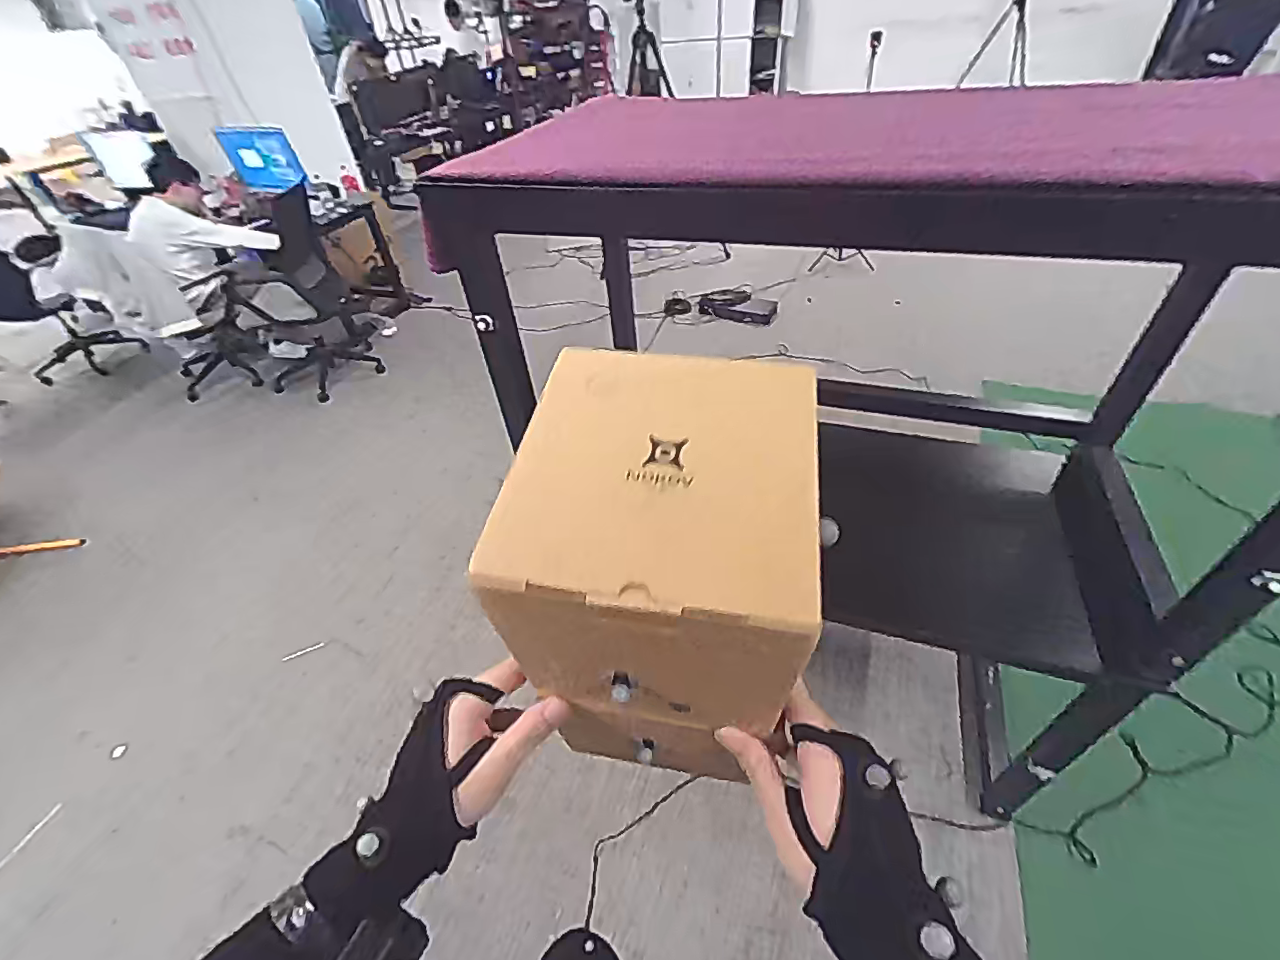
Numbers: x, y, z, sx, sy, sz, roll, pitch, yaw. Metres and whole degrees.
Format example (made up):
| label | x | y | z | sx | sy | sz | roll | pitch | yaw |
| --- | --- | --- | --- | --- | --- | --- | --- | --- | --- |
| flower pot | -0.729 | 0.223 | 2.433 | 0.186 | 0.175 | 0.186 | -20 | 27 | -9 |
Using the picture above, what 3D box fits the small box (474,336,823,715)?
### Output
| label | x | y | z | sx | sy | sz | roll | pitch | yaw |
| --- | --- | --- | --- | --- | --- | --- | --- | --- | --- |
| small box | 0.018 | 0.031 | 0.357 | 0.168 | 0.176 | 0.179 | 6 | 53 | 9 |
